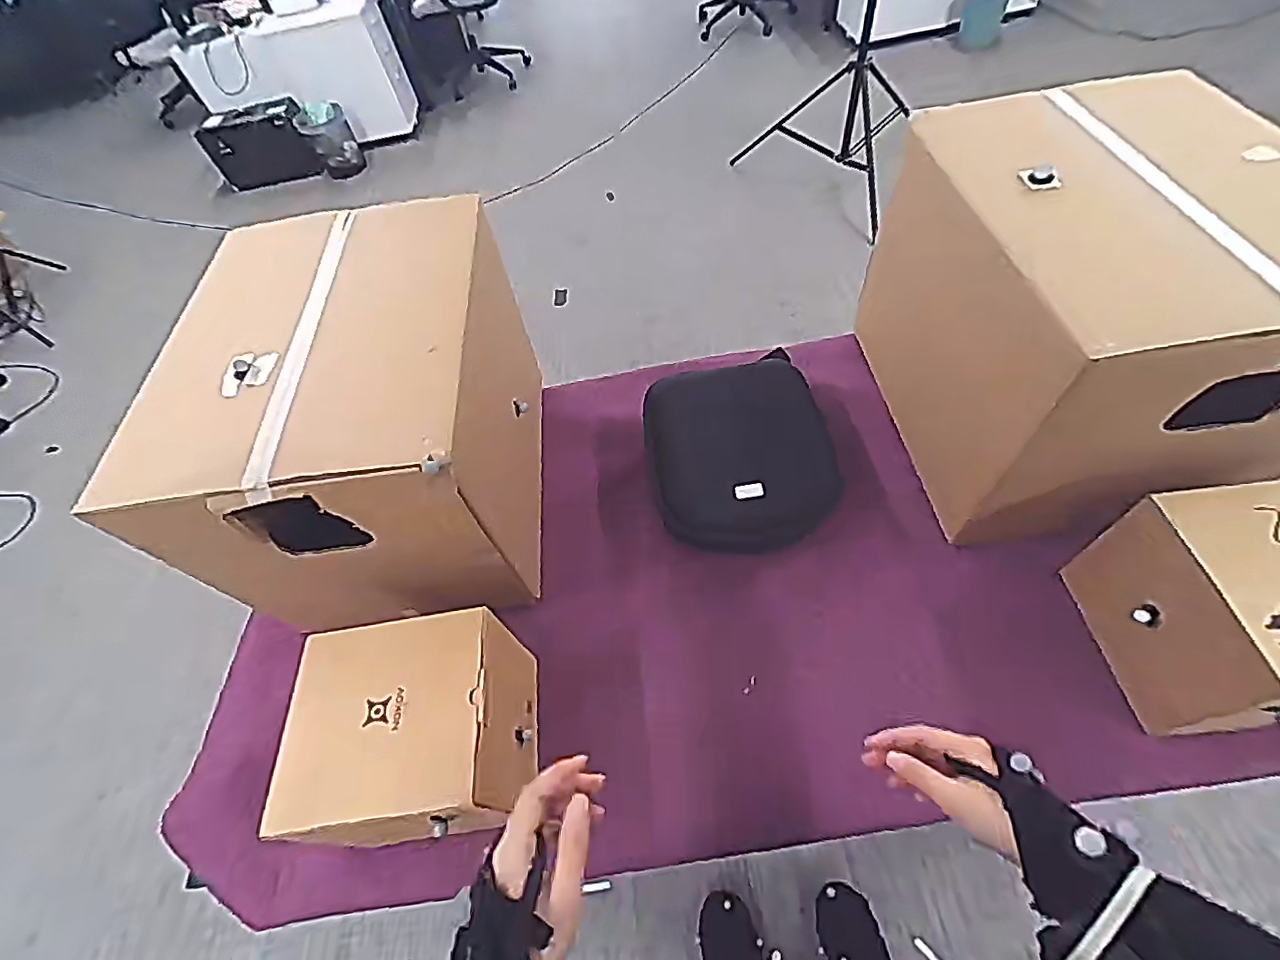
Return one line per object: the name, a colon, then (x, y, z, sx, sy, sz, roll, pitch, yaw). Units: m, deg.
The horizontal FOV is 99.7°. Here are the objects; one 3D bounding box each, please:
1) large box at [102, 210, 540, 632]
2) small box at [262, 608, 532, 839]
large box: (-0.314, -0.065, 0.680, 0.320, 0.320, 0.408, -9, 58, 2)
small box: (-0.218, 0.249, 0.540, 0.179, 0.176, 0.168, -10, 54, 1)
